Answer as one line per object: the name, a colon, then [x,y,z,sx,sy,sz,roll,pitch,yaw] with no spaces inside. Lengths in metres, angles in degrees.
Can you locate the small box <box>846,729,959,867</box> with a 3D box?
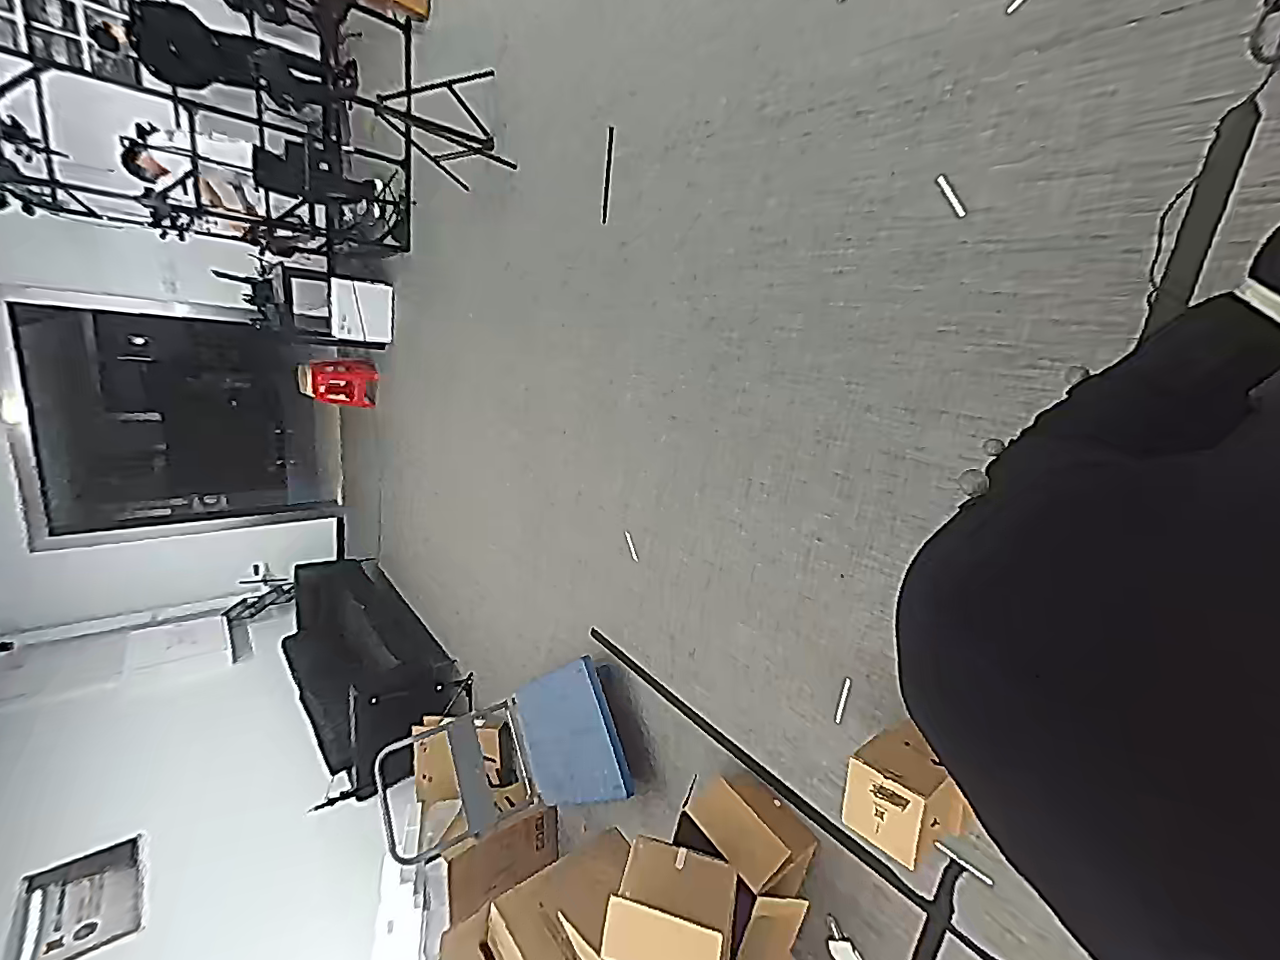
small box: [0.591,0.699,1.214,0.168,0.176,0.179,16,107,49]
